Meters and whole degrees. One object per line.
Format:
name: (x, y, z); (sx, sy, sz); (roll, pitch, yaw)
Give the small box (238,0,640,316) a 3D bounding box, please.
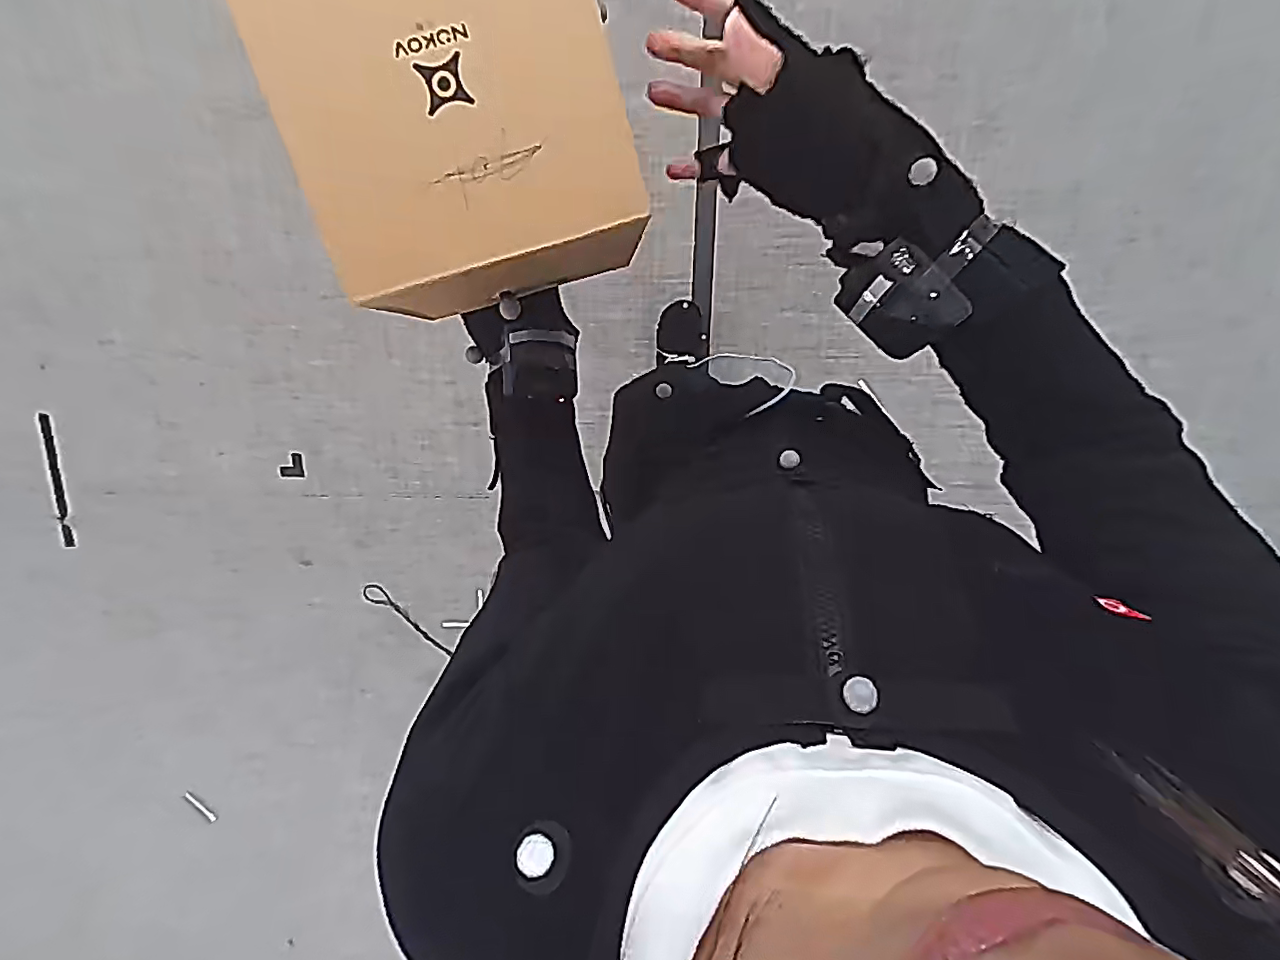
small box: (-0.107, -0.218, 0.351); (0.168, 0.176, 0.179); (-17, 104, -1)
